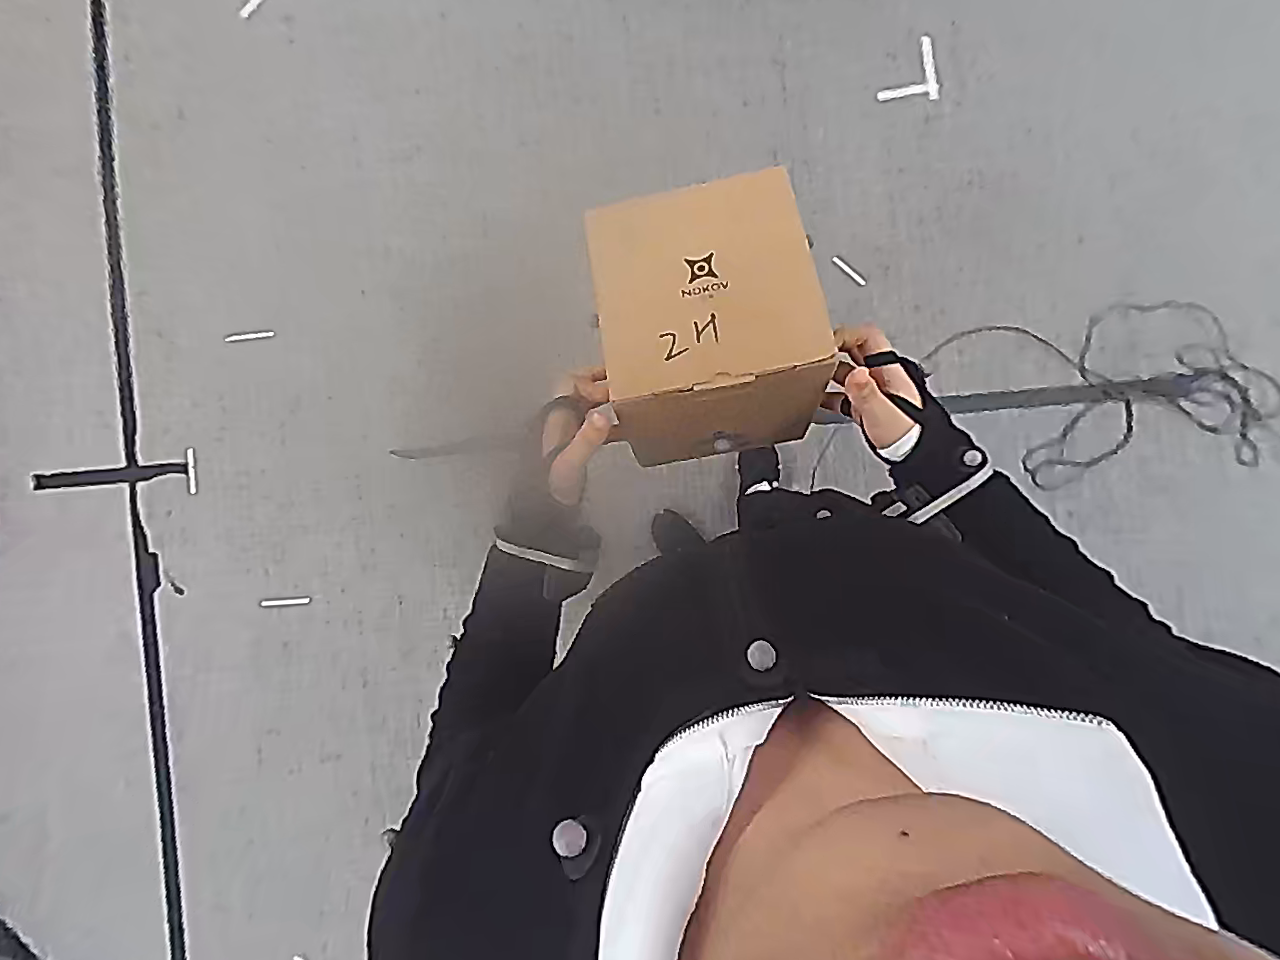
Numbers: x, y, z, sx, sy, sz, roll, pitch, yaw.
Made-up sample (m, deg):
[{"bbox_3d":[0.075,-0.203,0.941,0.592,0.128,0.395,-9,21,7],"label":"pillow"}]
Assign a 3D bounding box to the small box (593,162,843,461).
[{"bbox_3d":[0.061,-0.133,0.480,0.168,0.176,0.179,-10,74,5],"label":"small box"}]
